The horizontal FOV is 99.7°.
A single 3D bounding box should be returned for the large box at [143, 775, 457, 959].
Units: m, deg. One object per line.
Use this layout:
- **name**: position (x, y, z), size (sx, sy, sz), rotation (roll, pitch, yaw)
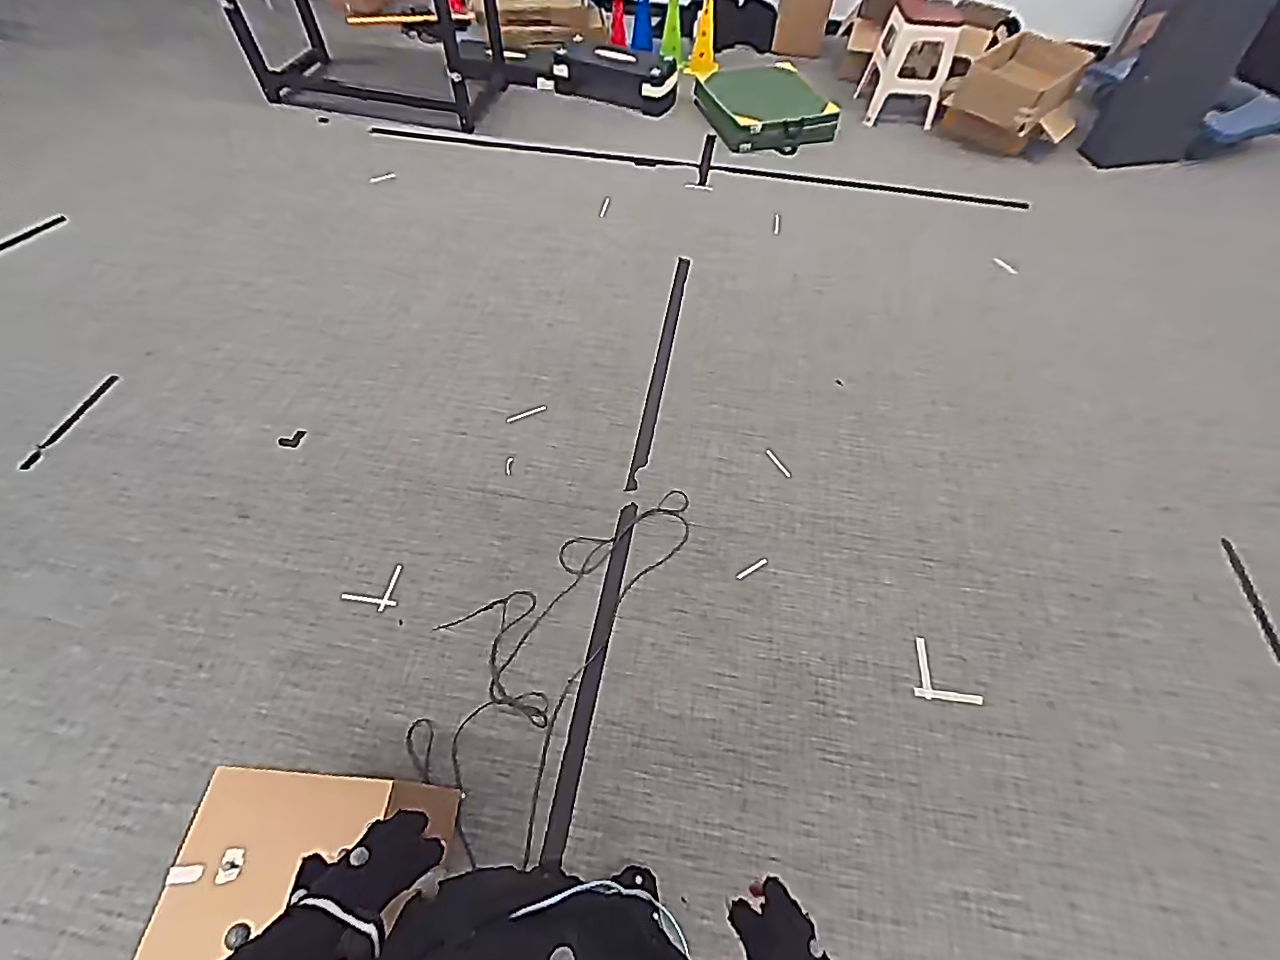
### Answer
- **large box**: position (-0.582, 0.738, 1.006), size (0.320, 0.408, 0.320), rotation (5, 59, 2)
